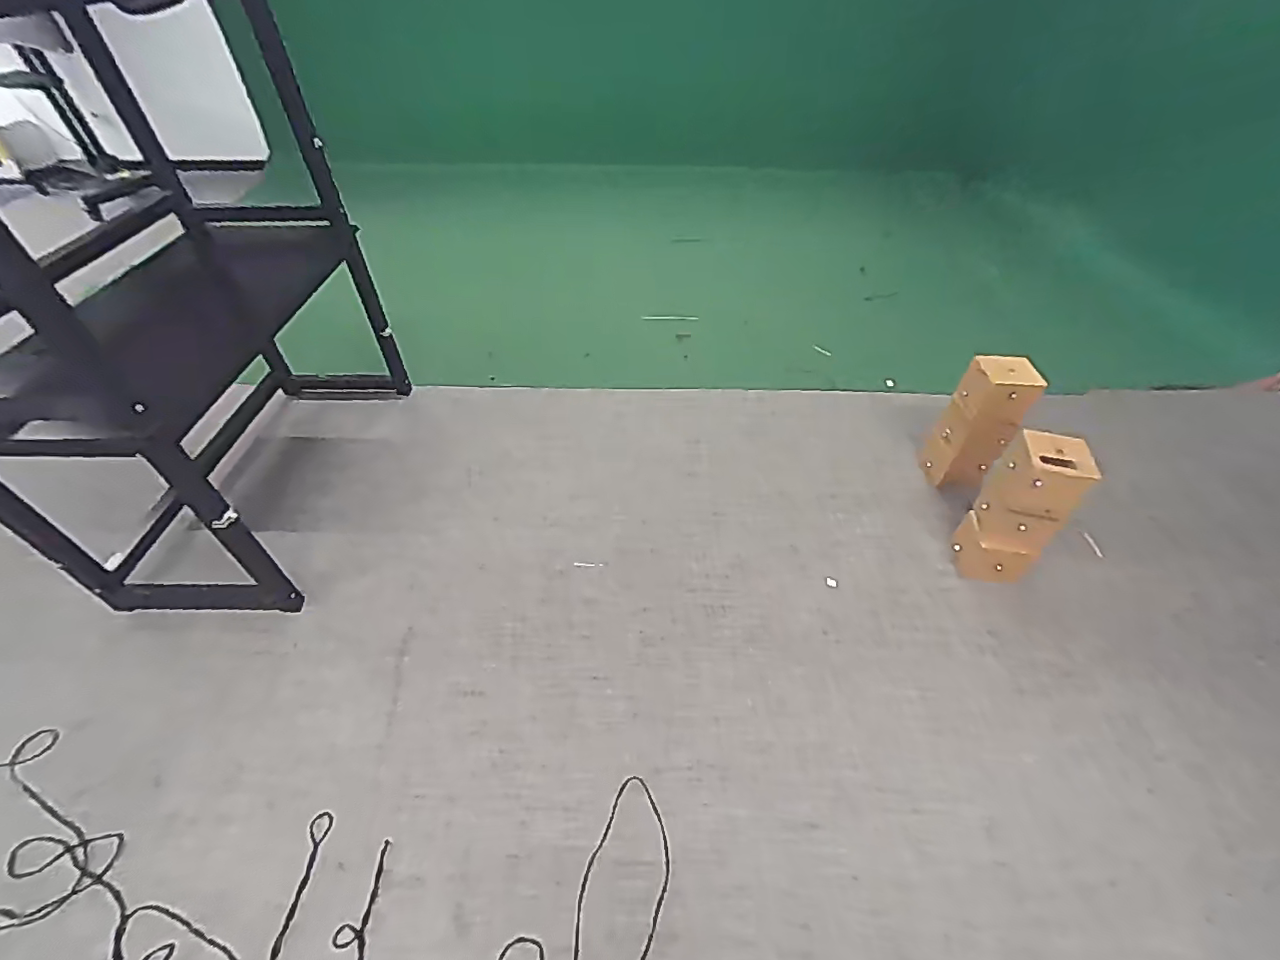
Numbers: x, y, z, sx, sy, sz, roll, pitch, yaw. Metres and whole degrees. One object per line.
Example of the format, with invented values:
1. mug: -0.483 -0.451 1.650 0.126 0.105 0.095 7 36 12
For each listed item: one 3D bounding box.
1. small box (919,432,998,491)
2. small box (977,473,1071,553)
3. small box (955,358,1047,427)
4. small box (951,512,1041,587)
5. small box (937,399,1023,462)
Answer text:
1. small box: 1.214 -0.070 2.074 0.179 0.176 0.168 -2 45 -3
2. small box: 1.173 0.104 1.673 0.179 0.176 0.168 11 46 11
3. small box: 1.219 -0.294 1.839 0.179 0.176 0.168 3 45 2
4. small box: 1.159 0.231 1.776 0.179 0.176 0.168 8 45 8
5. small box: 1.221 -0.180 1.955 0.179 0.176 0.168 -2 45 -2
